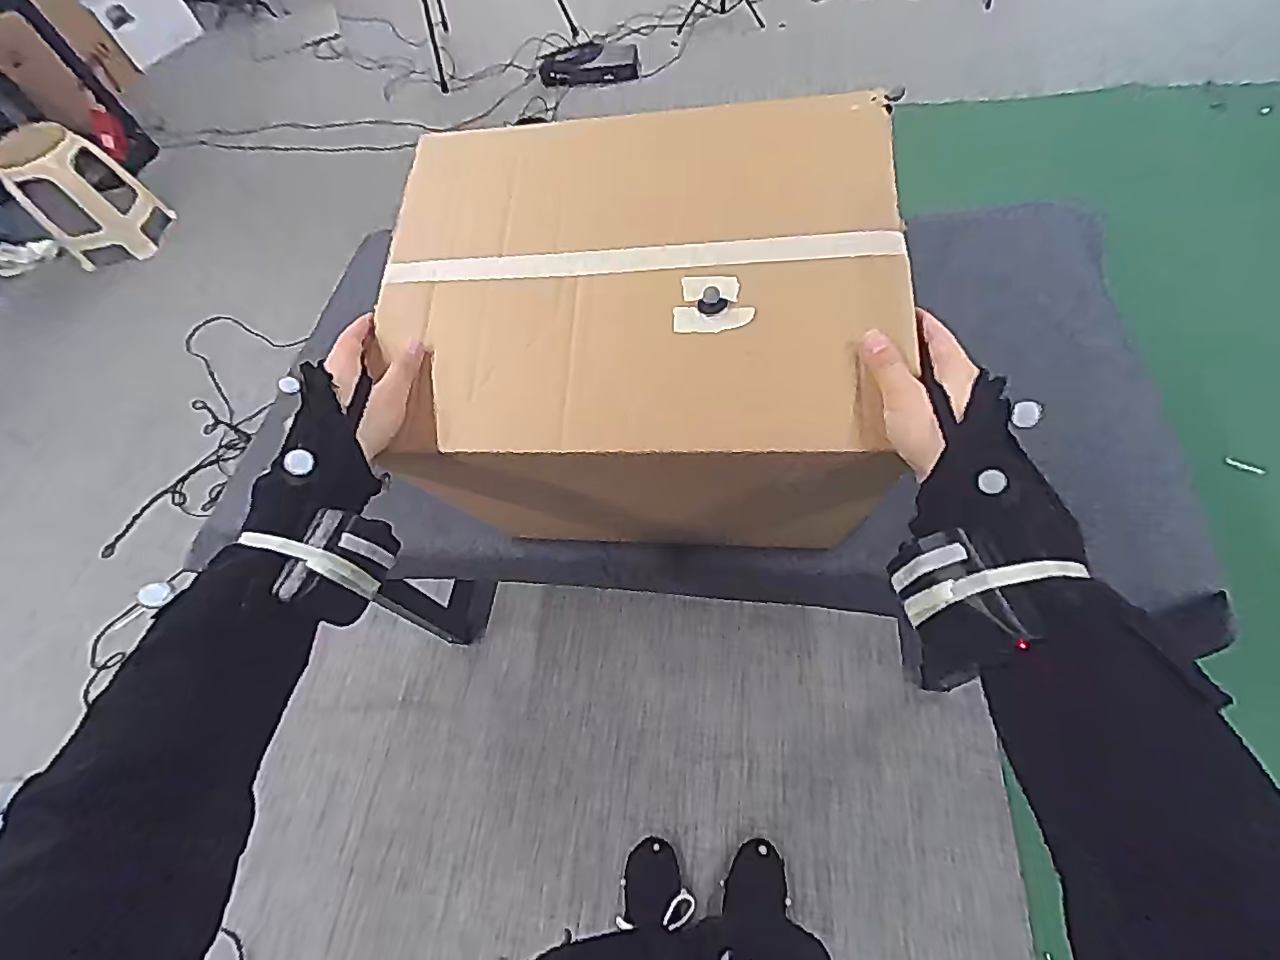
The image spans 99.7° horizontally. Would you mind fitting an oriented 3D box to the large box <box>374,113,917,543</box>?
[{"bbox_3d":[0.014,-0.117,0.575,0.408,0.320,0.320,0,71,8],"label":"large box"}]
